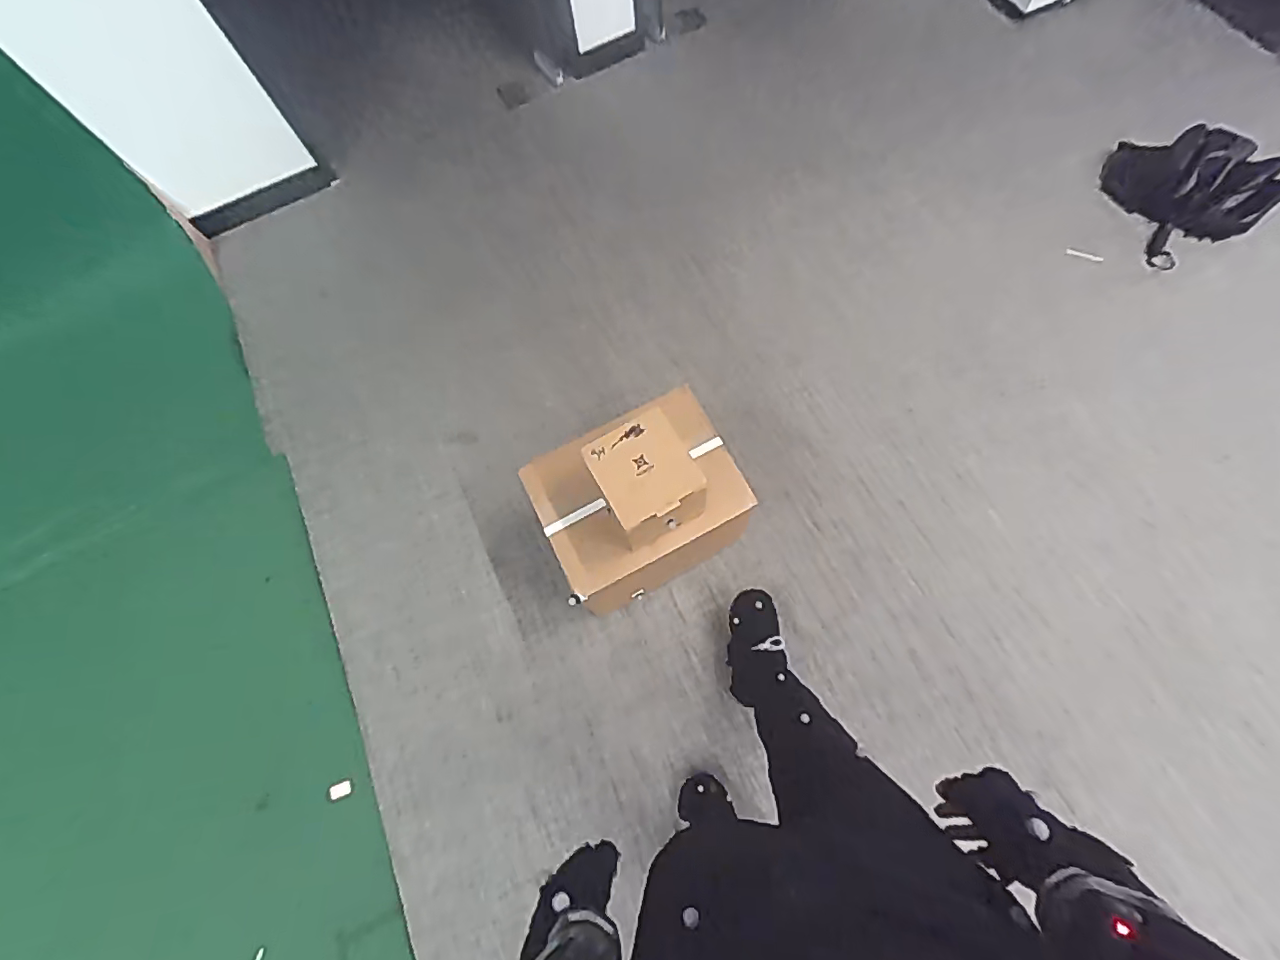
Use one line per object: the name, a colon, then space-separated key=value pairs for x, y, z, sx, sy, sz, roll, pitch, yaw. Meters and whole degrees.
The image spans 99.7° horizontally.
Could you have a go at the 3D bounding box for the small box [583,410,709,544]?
small box: x=0.016 y=0.007 z=1.011 sx=0.168 sy=0.176 sz=0.179 roll=-29 pitch=72 yaw=-5
